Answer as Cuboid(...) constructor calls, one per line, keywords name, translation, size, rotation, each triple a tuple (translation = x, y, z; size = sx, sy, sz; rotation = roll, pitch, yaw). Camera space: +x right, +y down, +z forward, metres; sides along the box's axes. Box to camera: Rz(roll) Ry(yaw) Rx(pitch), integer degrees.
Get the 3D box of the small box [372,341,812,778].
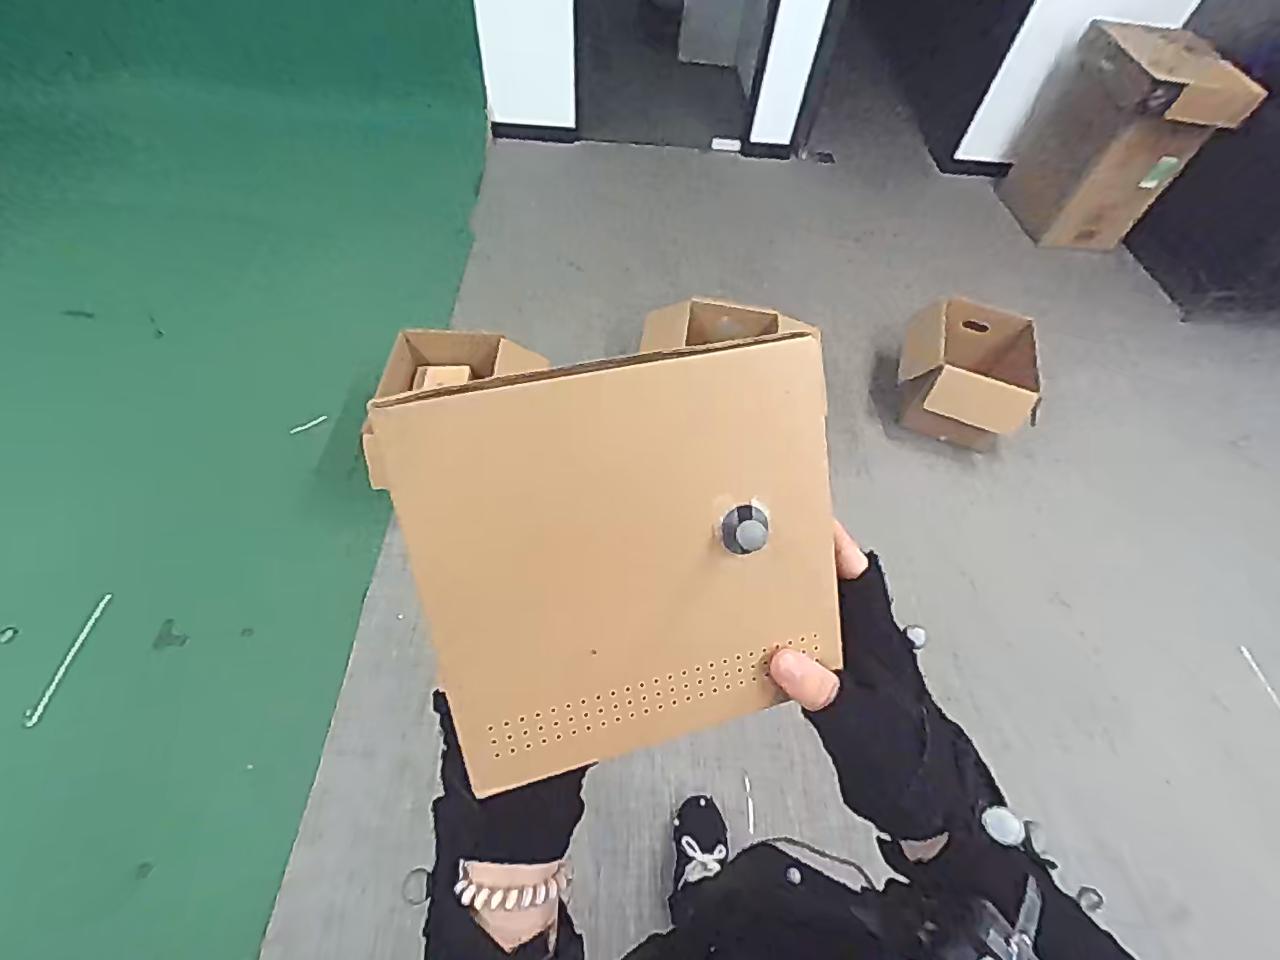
Cuboid(name="small box", translation=(-0.019, 0.023, 0.304), size=(0.179, 0.176, 0.168), rotation=(-12, 14, -11))
